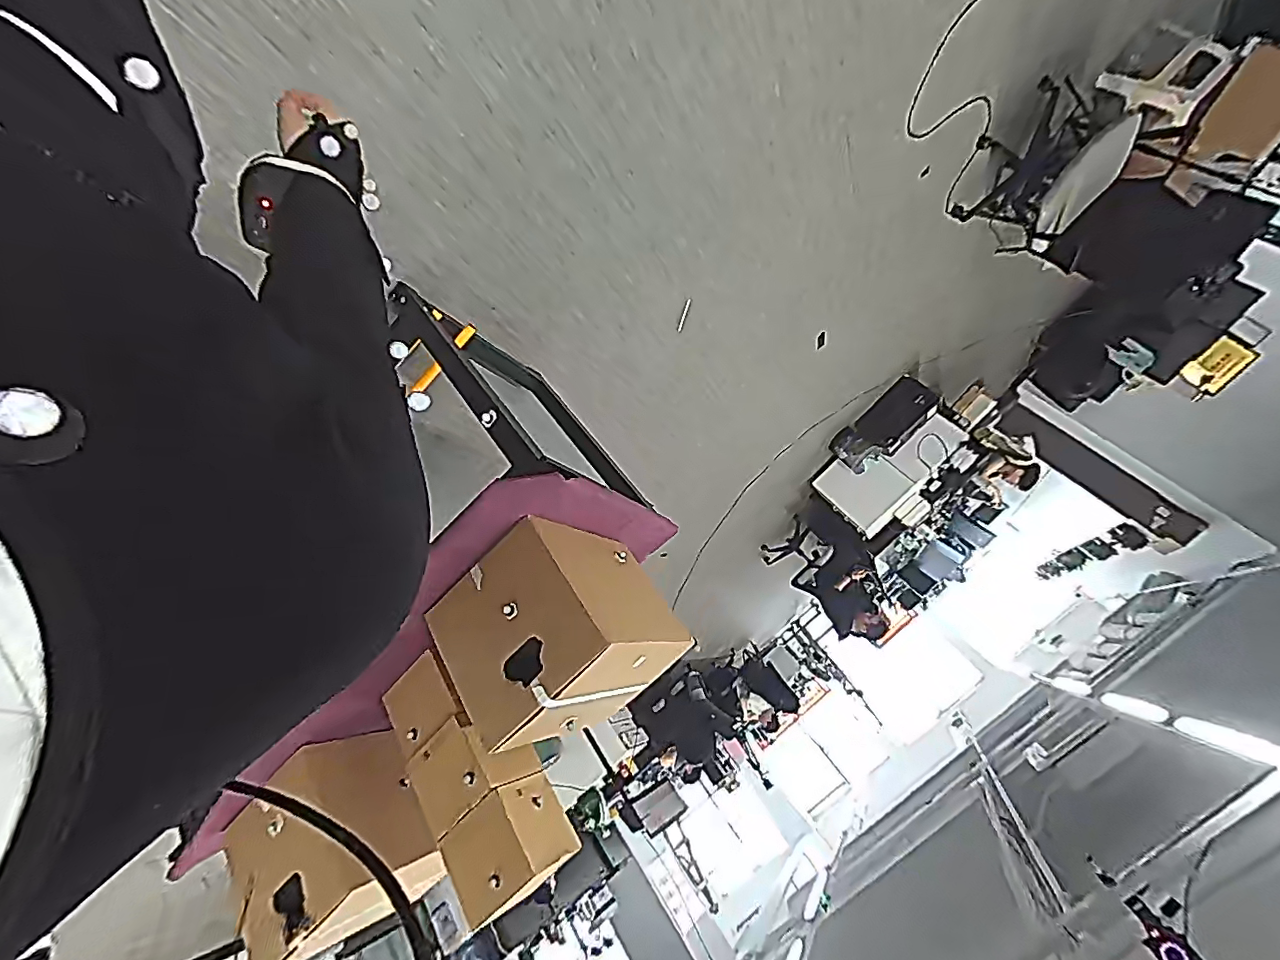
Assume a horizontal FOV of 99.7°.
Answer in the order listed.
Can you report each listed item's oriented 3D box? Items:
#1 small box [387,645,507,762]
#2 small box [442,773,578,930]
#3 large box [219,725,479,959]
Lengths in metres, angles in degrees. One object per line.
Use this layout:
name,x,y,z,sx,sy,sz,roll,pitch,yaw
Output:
small box,-0.444,0.499,1.228,0.179,0.176,0.168,-46,152,9
small box,-0.263,0.718,1.067,0.179,0.176,0.168,-45,151,7
large box,-0.652,0.805,1.261,0.320,0.320,0.408,-45,152,9
